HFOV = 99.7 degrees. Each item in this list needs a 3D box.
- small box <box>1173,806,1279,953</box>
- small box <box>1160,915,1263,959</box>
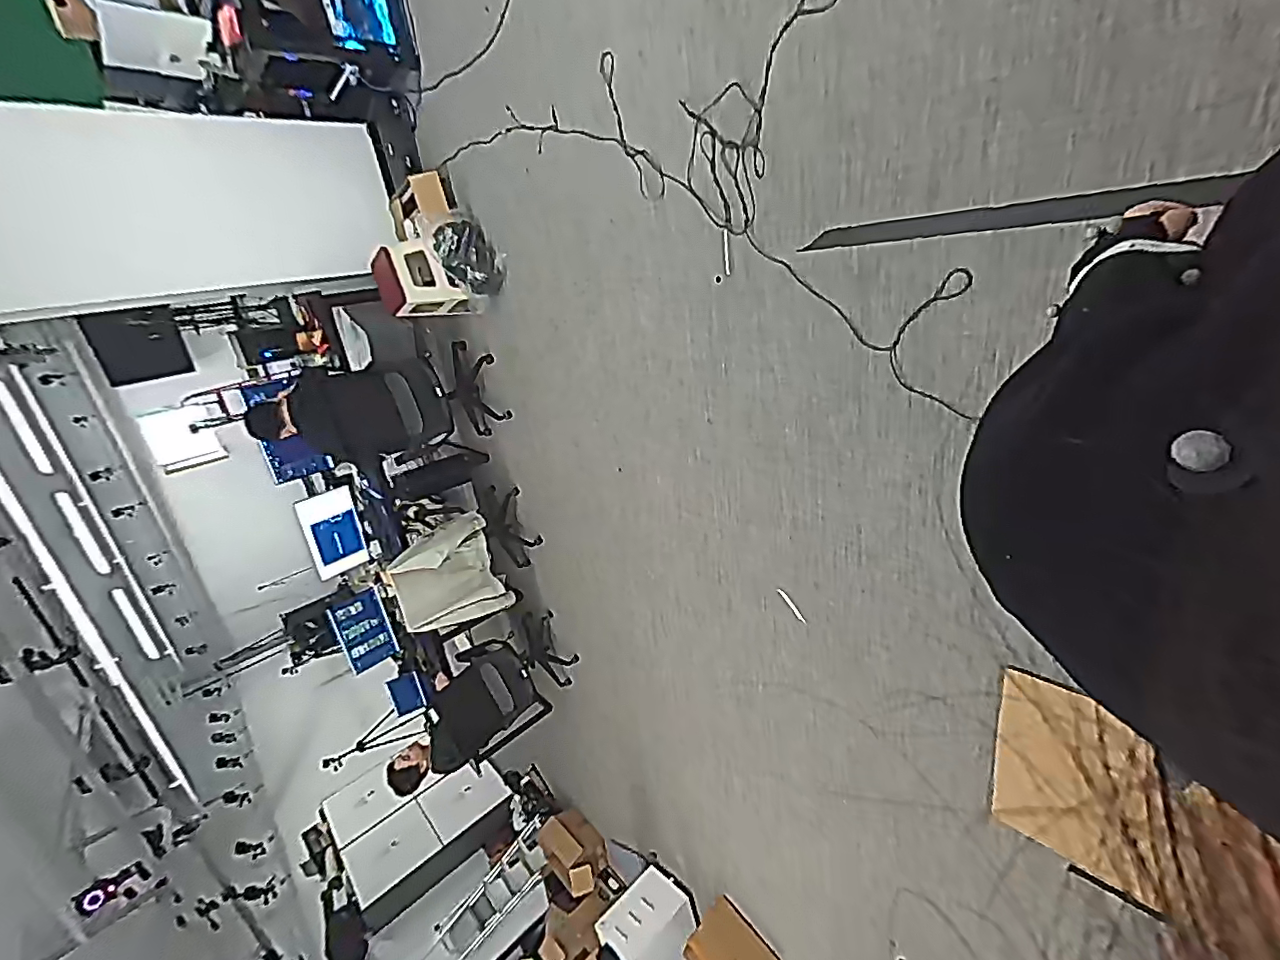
[{"bbox_3d":[1.371,0.903,1.240,0.168,0.176,0.179,20,125,46],"label":"small box"},{"bbox_3d":[1.127,1.020,1.052,0.168,0.176,0.179,17,122,46],"label":"small box"}]
